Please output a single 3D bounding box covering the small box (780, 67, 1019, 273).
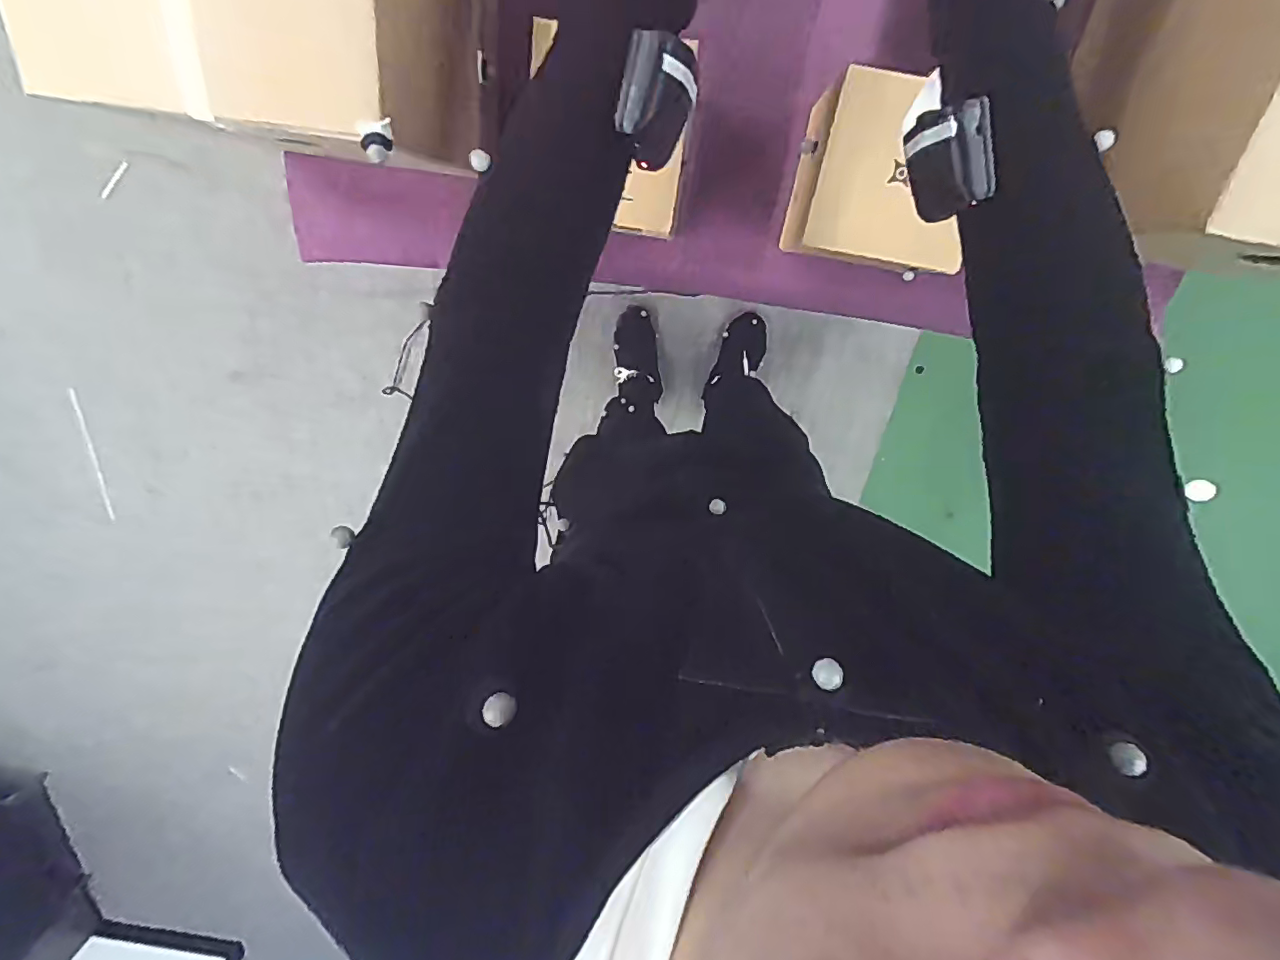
[{"bbox_3d":[0.274,-0.340,0.625,0.179,0.176,0.168,10,113,0],"label":"small box"}]
